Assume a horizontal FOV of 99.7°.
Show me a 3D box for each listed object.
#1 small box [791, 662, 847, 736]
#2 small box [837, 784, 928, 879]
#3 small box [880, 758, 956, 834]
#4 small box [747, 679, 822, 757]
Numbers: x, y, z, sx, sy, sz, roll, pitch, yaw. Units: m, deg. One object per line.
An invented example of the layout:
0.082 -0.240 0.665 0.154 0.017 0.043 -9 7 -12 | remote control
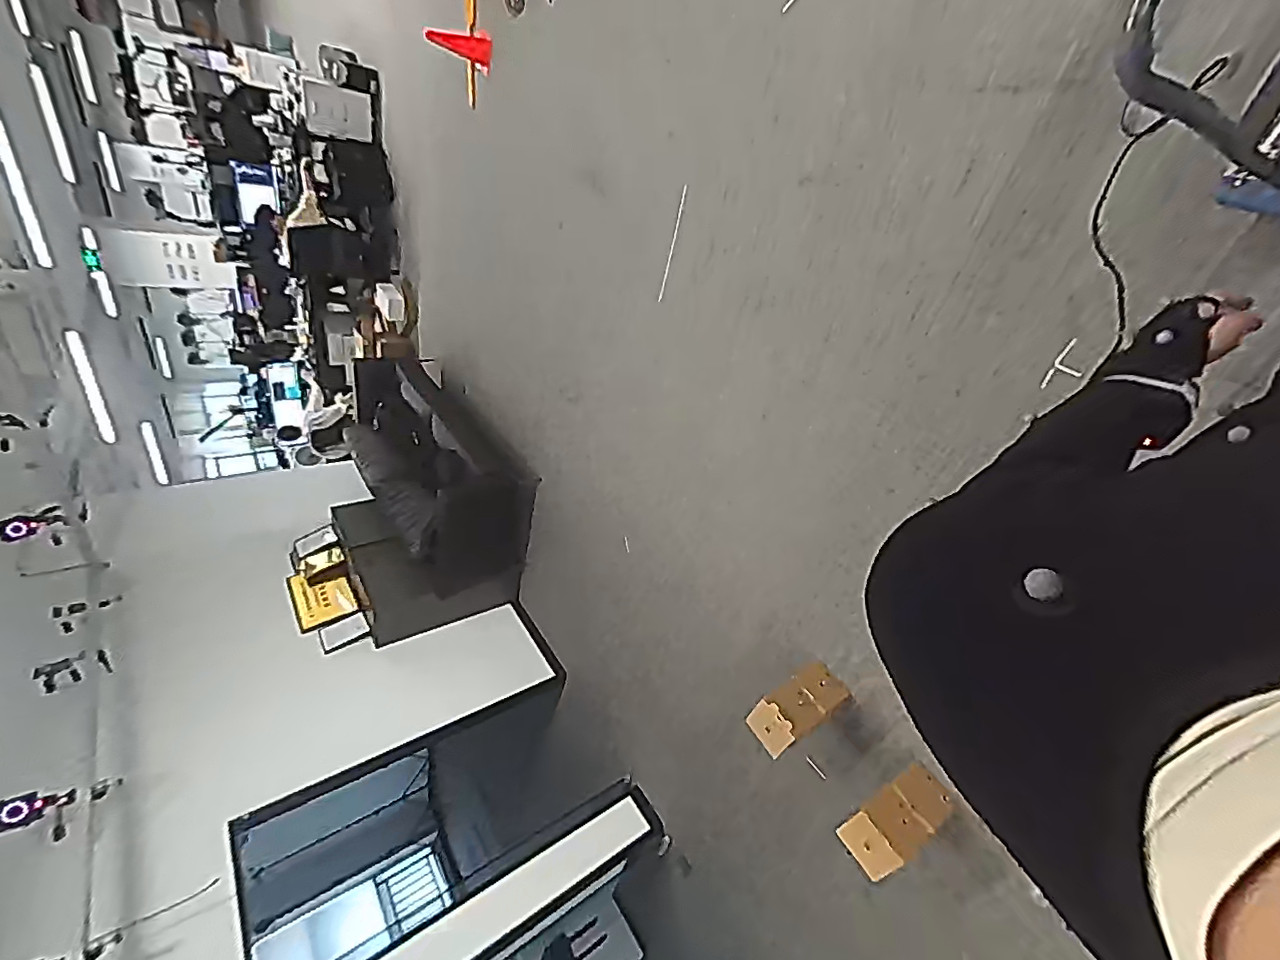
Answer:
0.662 0.829 2.067 0.168 0.176 0.179 46 133 35 | small box
0.777 1.117 1.726 0.168 0.176 0.179 49 135 34 | small box
0.925 1.077 1.820 0.168 0.176 0.179 49 136 34 | small box
0.530 0.866 1.975 0.168 0.176 0.179 49 135 31 | small box
